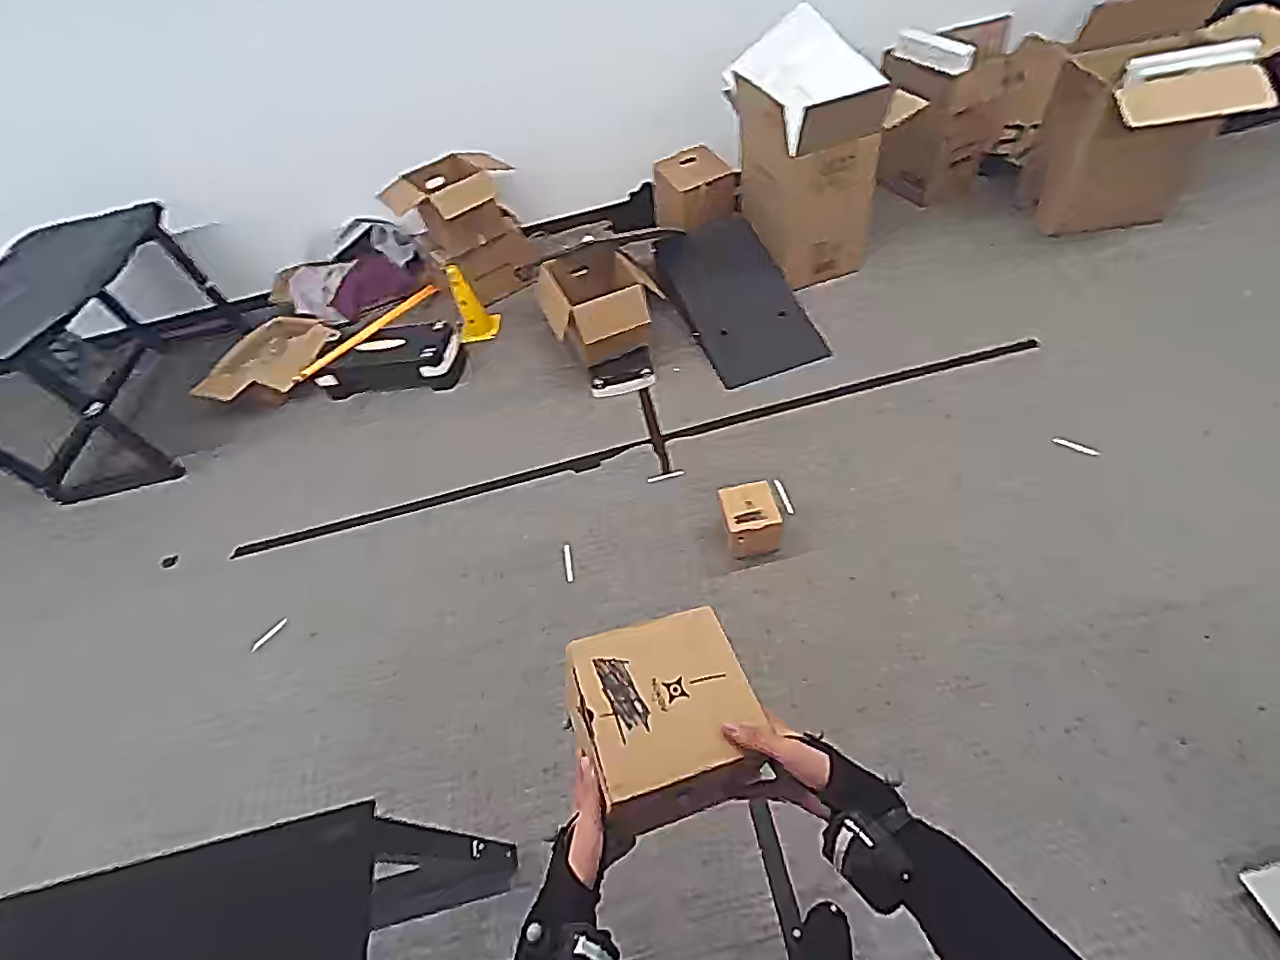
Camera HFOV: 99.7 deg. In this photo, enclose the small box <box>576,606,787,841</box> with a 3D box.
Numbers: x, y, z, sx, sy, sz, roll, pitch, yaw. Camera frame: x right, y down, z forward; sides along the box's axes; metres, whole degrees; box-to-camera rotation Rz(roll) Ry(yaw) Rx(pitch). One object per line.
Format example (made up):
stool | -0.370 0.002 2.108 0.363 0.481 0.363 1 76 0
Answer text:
small box | 0.031 0.270 0.603 0.179 0.176 0.168 -9 47 -17
